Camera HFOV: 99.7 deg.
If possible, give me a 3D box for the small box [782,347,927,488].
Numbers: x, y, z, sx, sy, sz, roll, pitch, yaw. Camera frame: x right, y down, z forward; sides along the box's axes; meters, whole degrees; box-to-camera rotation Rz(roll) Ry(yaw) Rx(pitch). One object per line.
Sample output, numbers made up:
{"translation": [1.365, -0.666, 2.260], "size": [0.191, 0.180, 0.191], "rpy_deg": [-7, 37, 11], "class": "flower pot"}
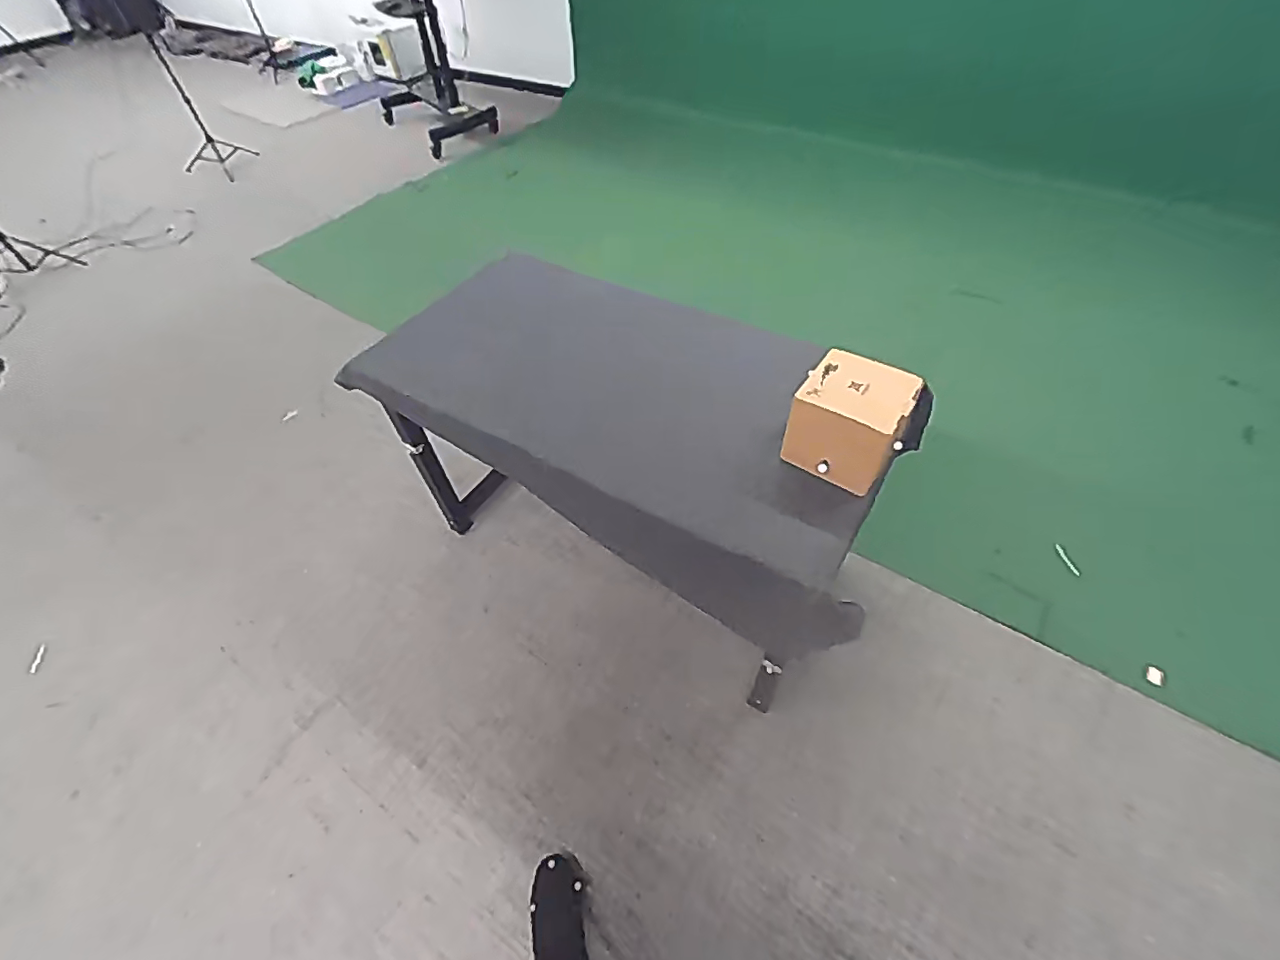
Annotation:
{"translation": [0.391, -0.110, 1.010], "size": [0.179, 0.176, 0.168], "rpy_deg": [30, 58, 23], "class": "small box"}
